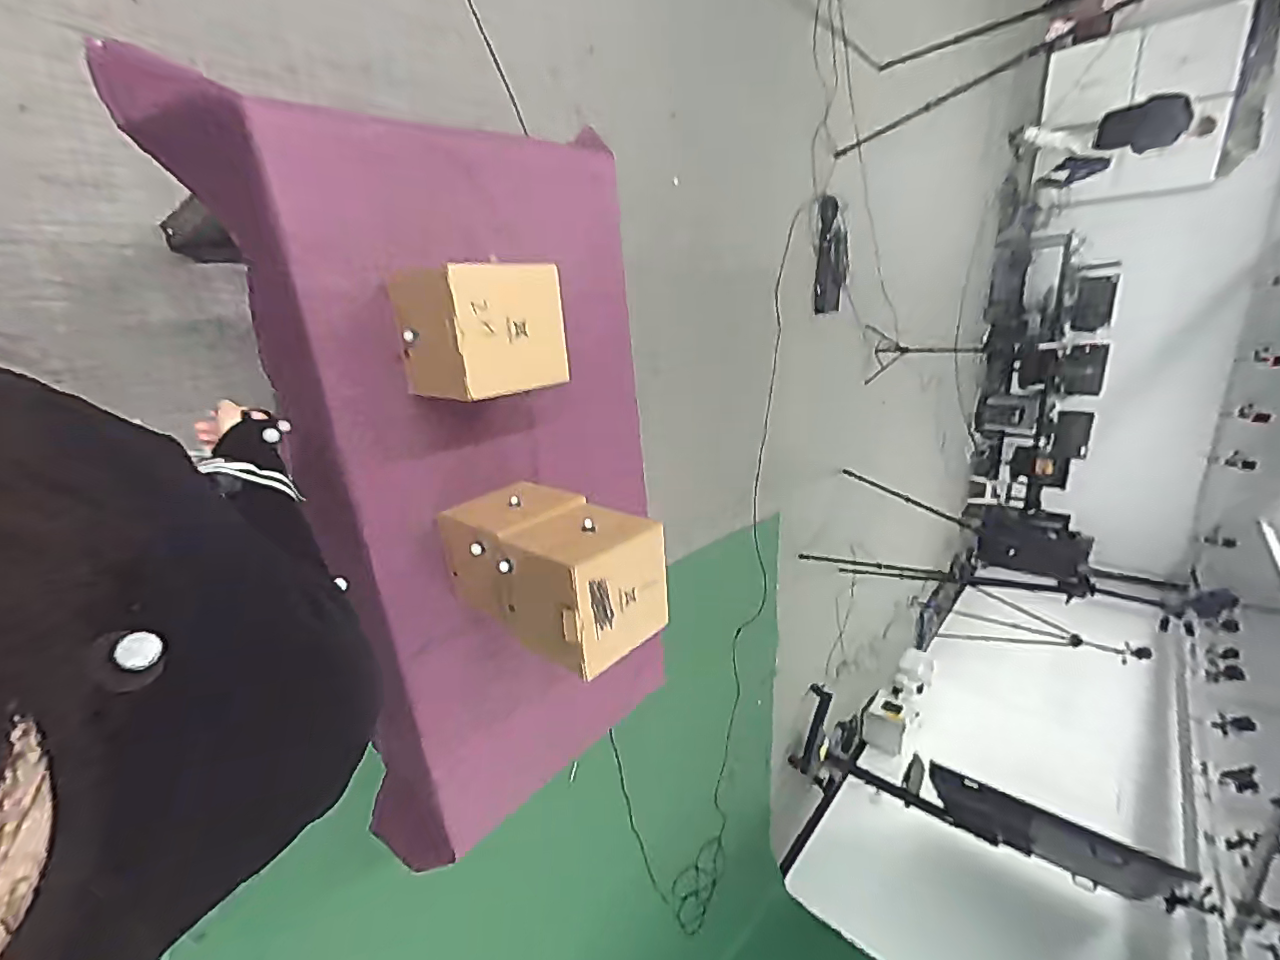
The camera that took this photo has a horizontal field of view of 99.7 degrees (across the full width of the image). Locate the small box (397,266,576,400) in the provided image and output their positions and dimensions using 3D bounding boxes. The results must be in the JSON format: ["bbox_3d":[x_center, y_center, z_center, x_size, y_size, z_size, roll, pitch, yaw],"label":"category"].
[{"bbox_3d":[-0.219,-0.215,0.786,0.179,0.176,0.168,-23,114,-44],"label":"small box"}]

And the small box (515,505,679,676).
[{"bbox_3d":[-0.066,0.146,0.787,0.179,0.176,0.168,-23,115,-45],"label":"small box"}]
